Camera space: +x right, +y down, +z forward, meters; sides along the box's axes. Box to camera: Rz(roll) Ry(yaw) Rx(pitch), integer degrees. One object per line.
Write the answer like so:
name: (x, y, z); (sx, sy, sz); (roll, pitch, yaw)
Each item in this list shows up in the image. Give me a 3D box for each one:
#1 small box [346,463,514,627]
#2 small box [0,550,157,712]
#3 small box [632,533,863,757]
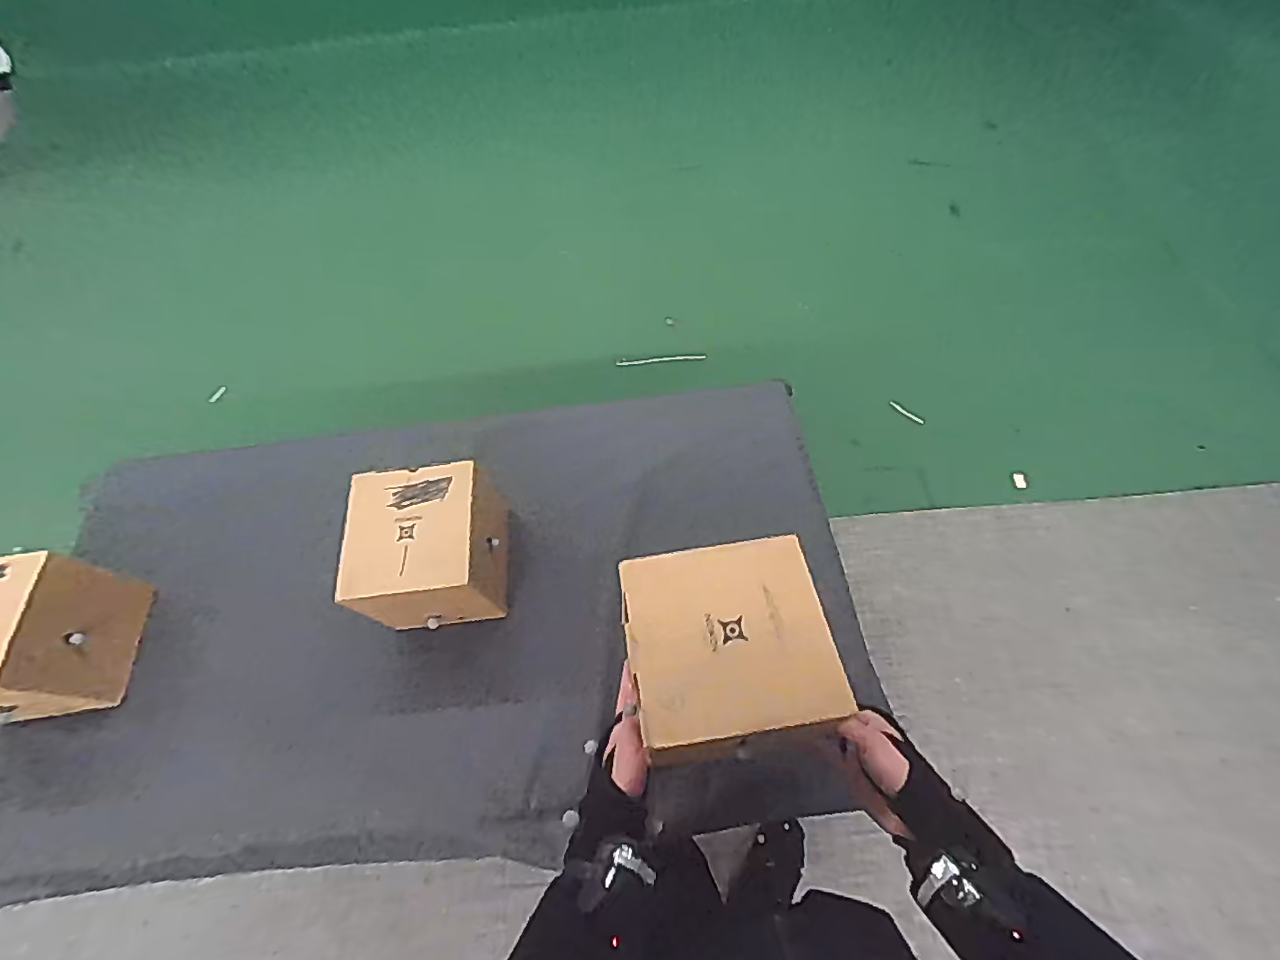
small box: (-0.280, 0.097, 0.764); (0.168, 0.176, 0.179); (-7, 64, 0)
small box: (-0.819, 0.213, 0.736); (0.168, 0.176, 0.179); (-8, 63, -1)
small box: (0.090, 0.174, 0.554); (0.179, 0.176, 0.168); (-8, 58, -6)
